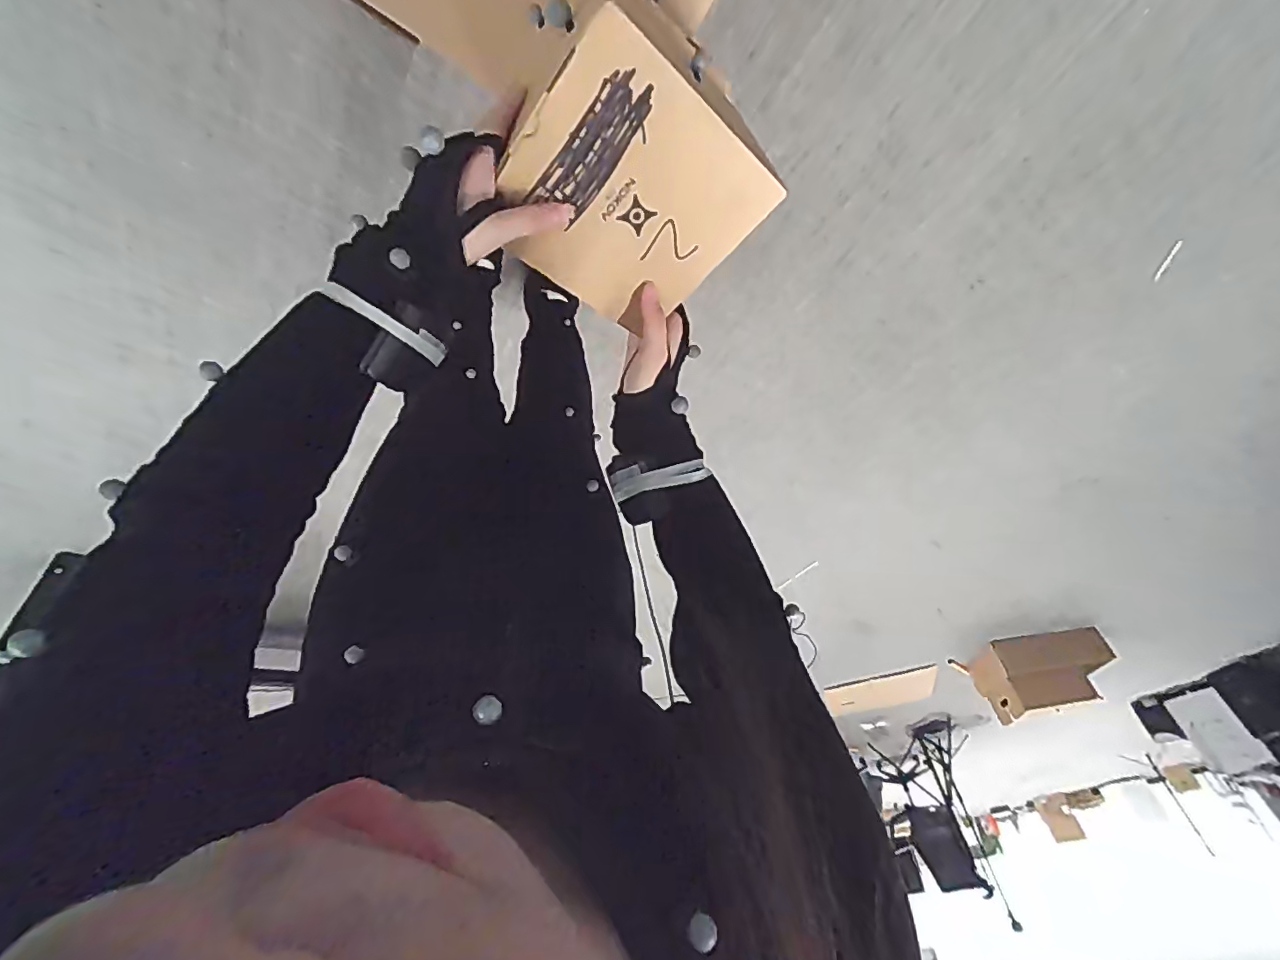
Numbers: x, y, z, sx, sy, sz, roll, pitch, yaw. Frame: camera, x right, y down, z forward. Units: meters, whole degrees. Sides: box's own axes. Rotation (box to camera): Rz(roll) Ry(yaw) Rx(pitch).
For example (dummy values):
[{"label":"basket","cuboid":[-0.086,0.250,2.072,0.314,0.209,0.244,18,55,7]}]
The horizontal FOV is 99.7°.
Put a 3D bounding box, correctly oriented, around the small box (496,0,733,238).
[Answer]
[{"label":"small box","cuboid":[-0.037,-0.402,0.562,0.168,0.176,0.179,22,130,-32]}]
